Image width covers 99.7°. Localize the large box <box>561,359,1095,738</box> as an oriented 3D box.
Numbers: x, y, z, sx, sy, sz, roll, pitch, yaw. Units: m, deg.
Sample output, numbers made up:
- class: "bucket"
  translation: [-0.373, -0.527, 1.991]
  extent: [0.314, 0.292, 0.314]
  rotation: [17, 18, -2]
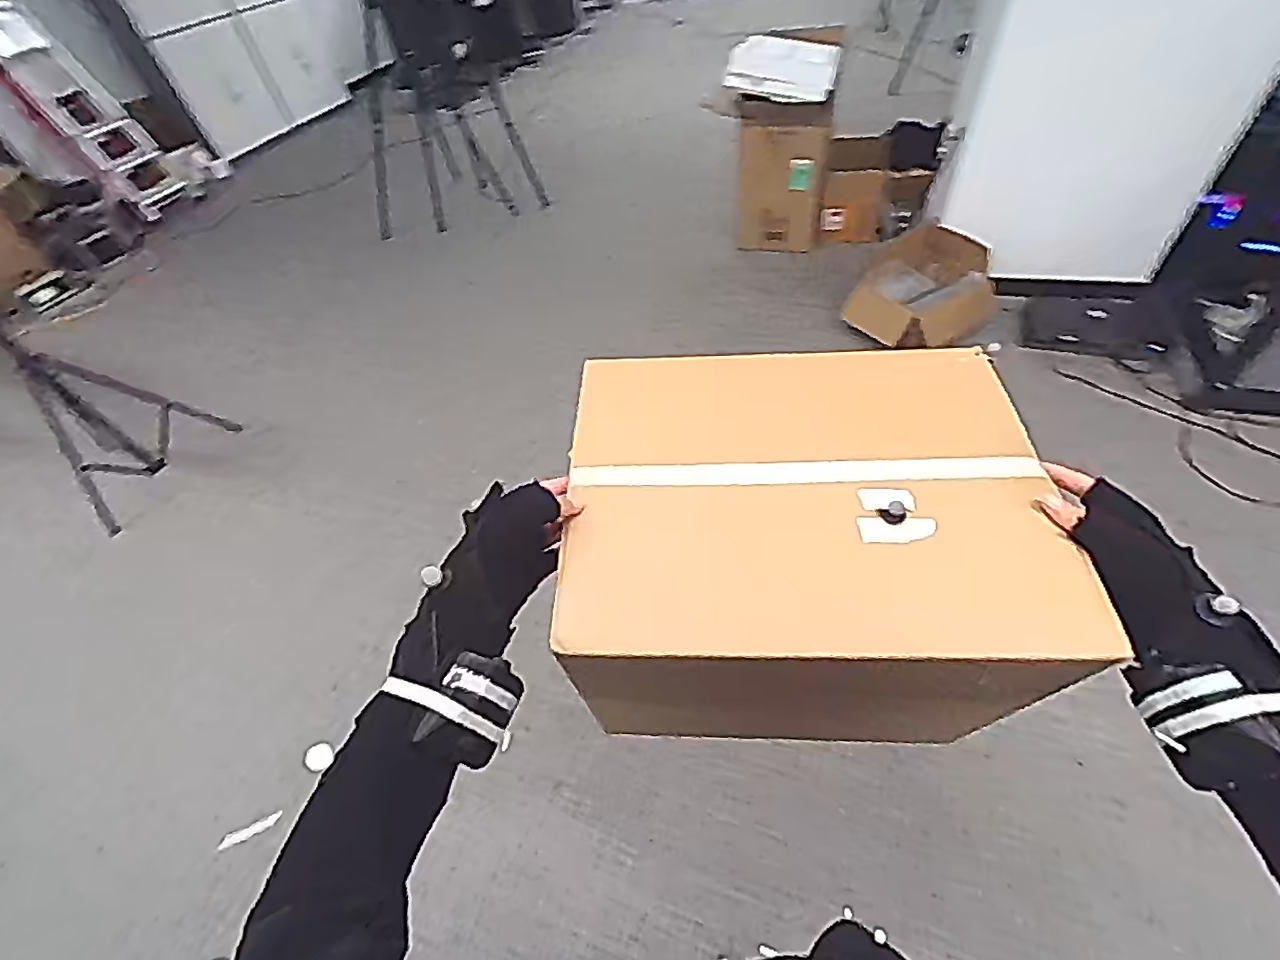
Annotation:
- class: "large box"
  translation: [0.144, 0.091, 0.608]
  extent: [0.408, 0.320, 0.320]
  rotation: [-2, 55, 3]
